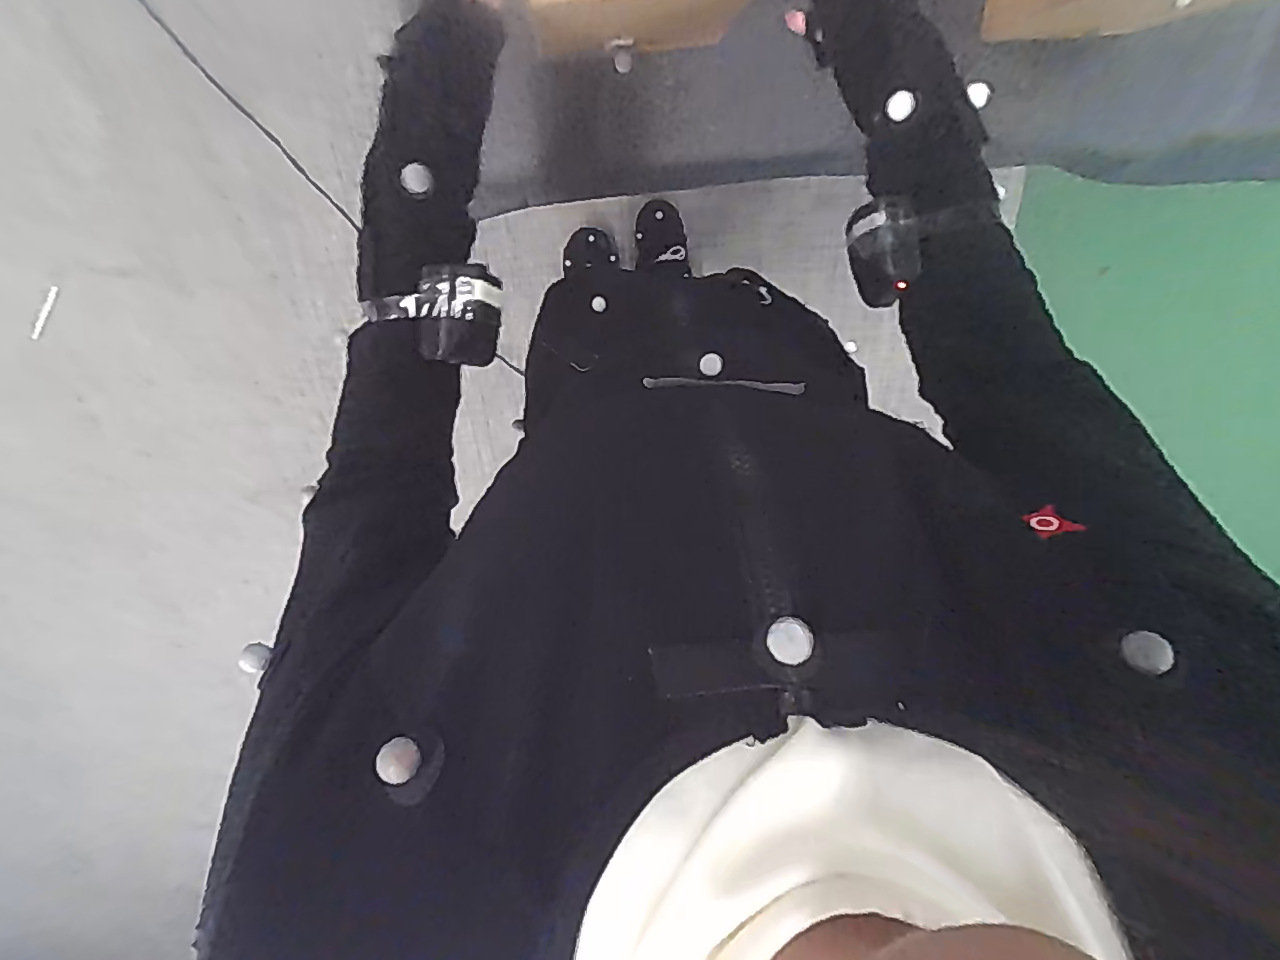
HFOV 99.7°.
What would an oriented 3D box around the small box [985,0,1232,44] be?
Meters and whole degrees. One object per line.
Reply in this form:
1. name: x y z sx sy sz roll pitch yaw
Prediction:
1. small box: 0.410 -0.476 0.422 0.168 0.176 0.179 -6 117 -3
